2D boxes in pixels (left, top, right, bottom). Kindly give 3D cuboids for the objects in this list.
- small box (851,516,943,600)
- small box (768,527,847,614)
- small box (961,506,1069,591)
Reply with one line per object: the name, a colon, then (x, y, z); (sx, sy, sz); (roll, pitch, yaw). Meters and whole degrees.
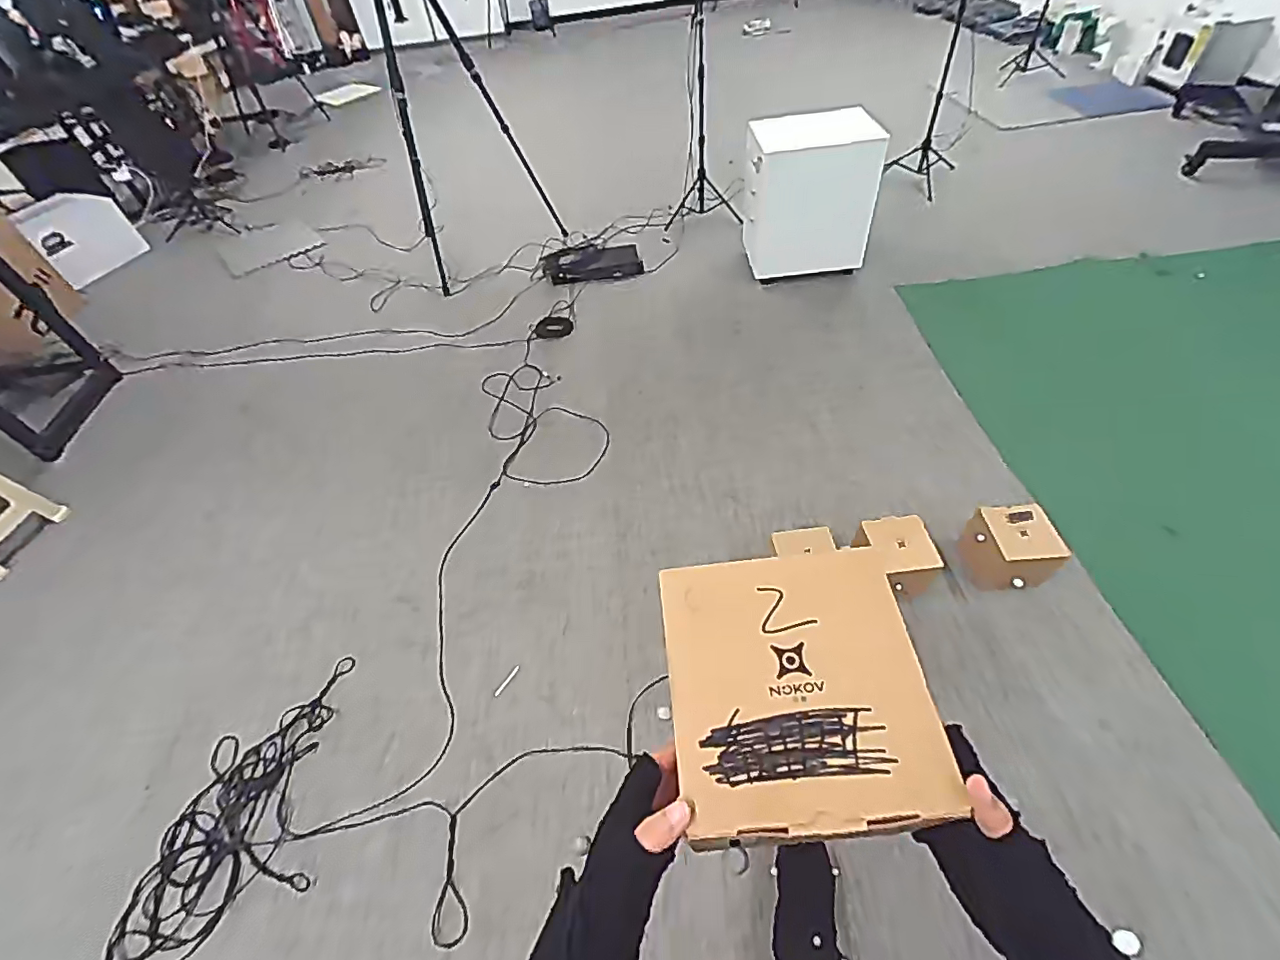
small box: (0.722, 0.229, 1.539); (0.168, 0.176, 0.179); (-7, 48, 1)
small box: (0.468, 0.259, 1.539); (0.168, 0.176, 0.179); (-7, 49, 2)
small box: (1.046, 0.195, 1.528); (0.168, 0.176, 0.179); (-4, 50, 4)
